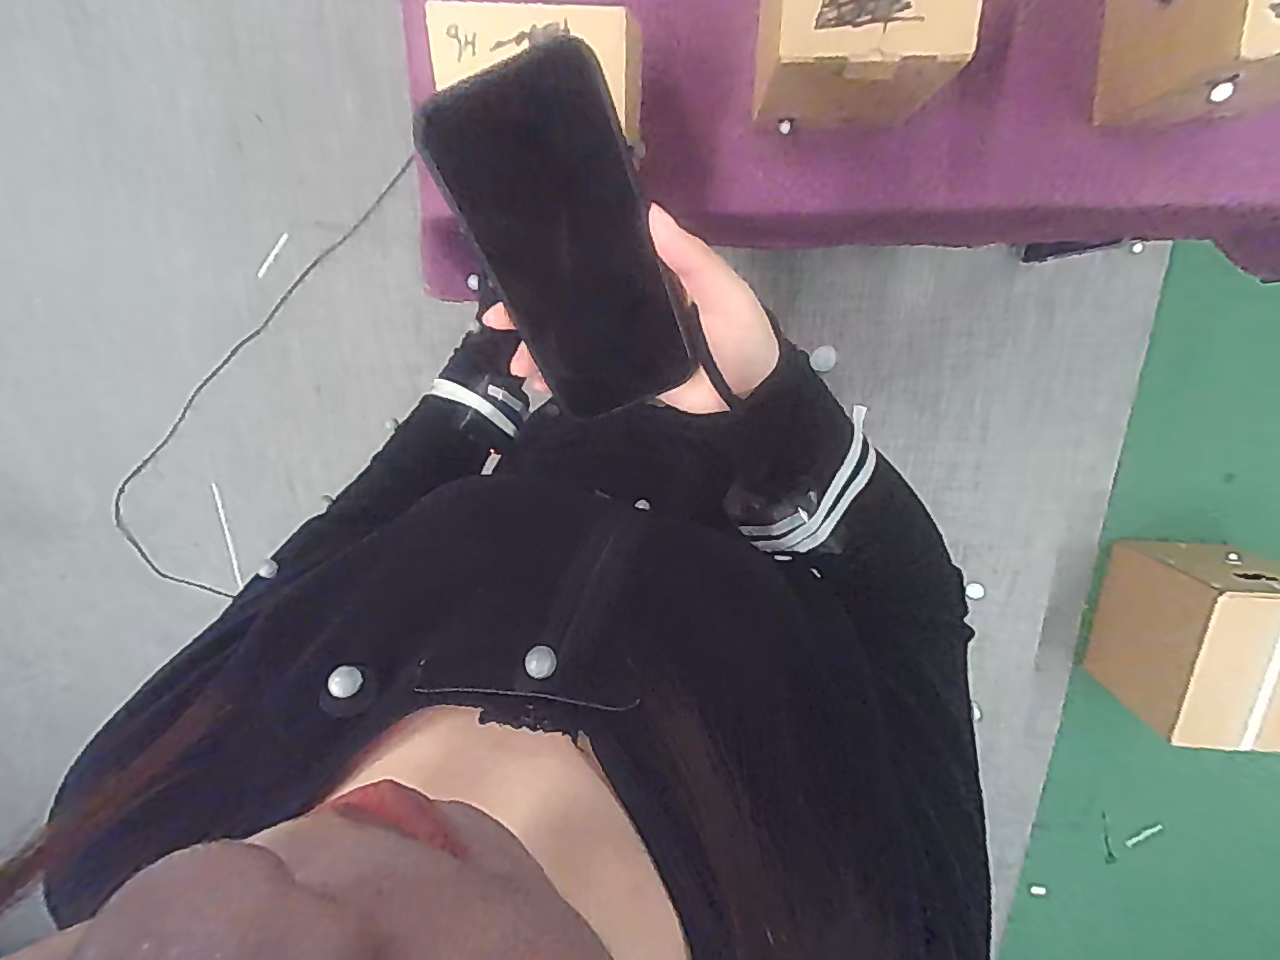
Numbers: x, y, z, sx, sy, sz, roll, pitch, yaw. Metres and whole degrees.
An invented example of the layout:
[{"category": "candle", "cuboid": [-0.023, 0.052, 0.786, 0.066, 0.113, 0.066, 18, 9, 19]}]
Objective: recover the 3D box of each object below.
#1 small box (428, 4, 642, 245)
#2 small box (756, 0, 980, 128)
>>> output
[{"category": "small box", "cuboid": [-0.087, -0.354, 0.545, 0.168, 0.176, 0.179, 4, 127, 2]}, {"category": "small box", "cuboid": [0.209, -0.462, 0.520, 0.168, 0.176, 0.179, 2, 105, 3]}]
